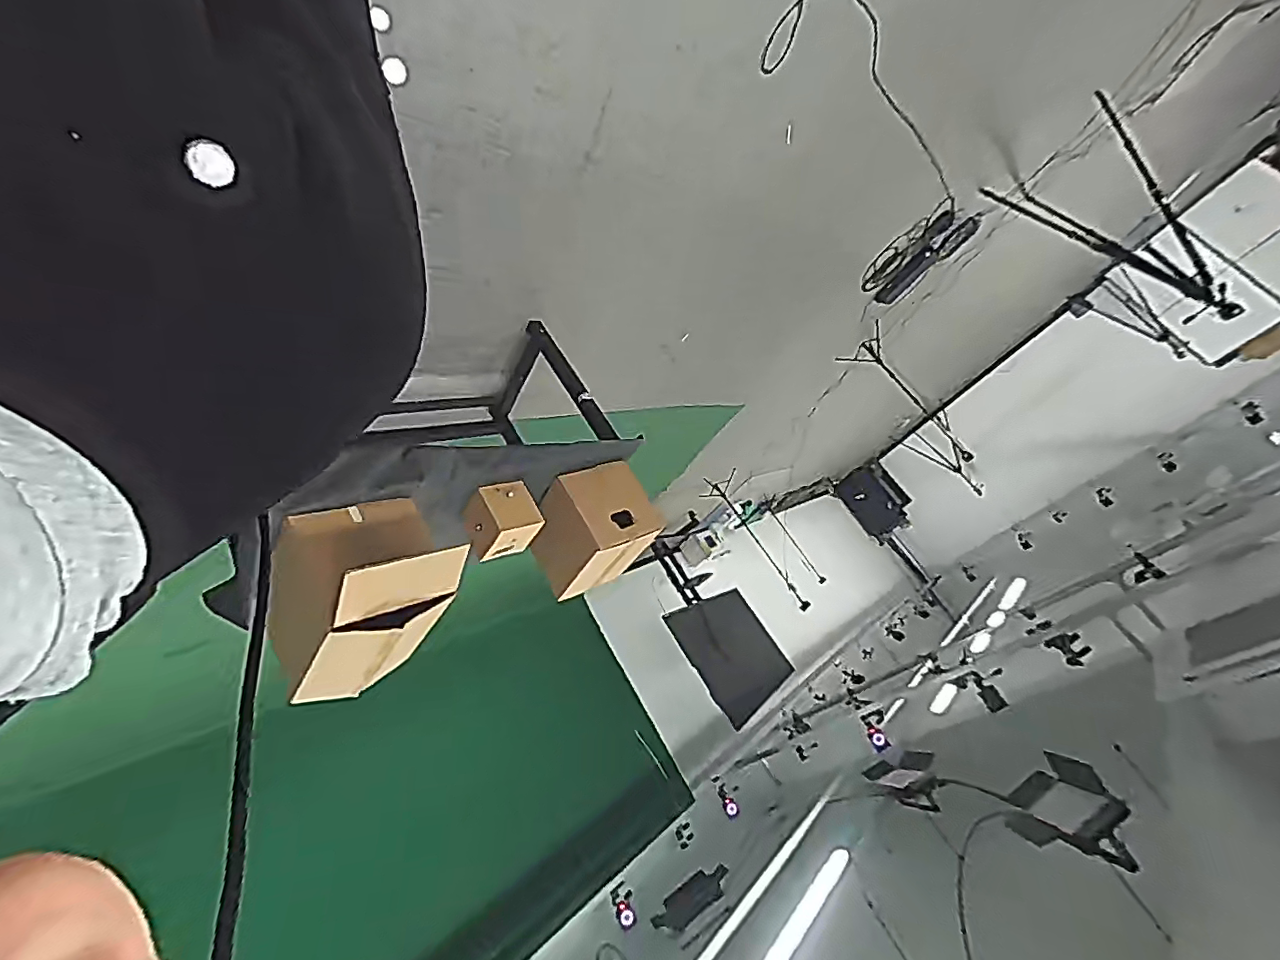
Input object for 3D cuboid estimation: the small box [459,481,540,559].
[{"bbox_3d":[-0.455,0.124,1.724,0.168,0.176,0.179,-12,152,-48],"label":"small box"}]
